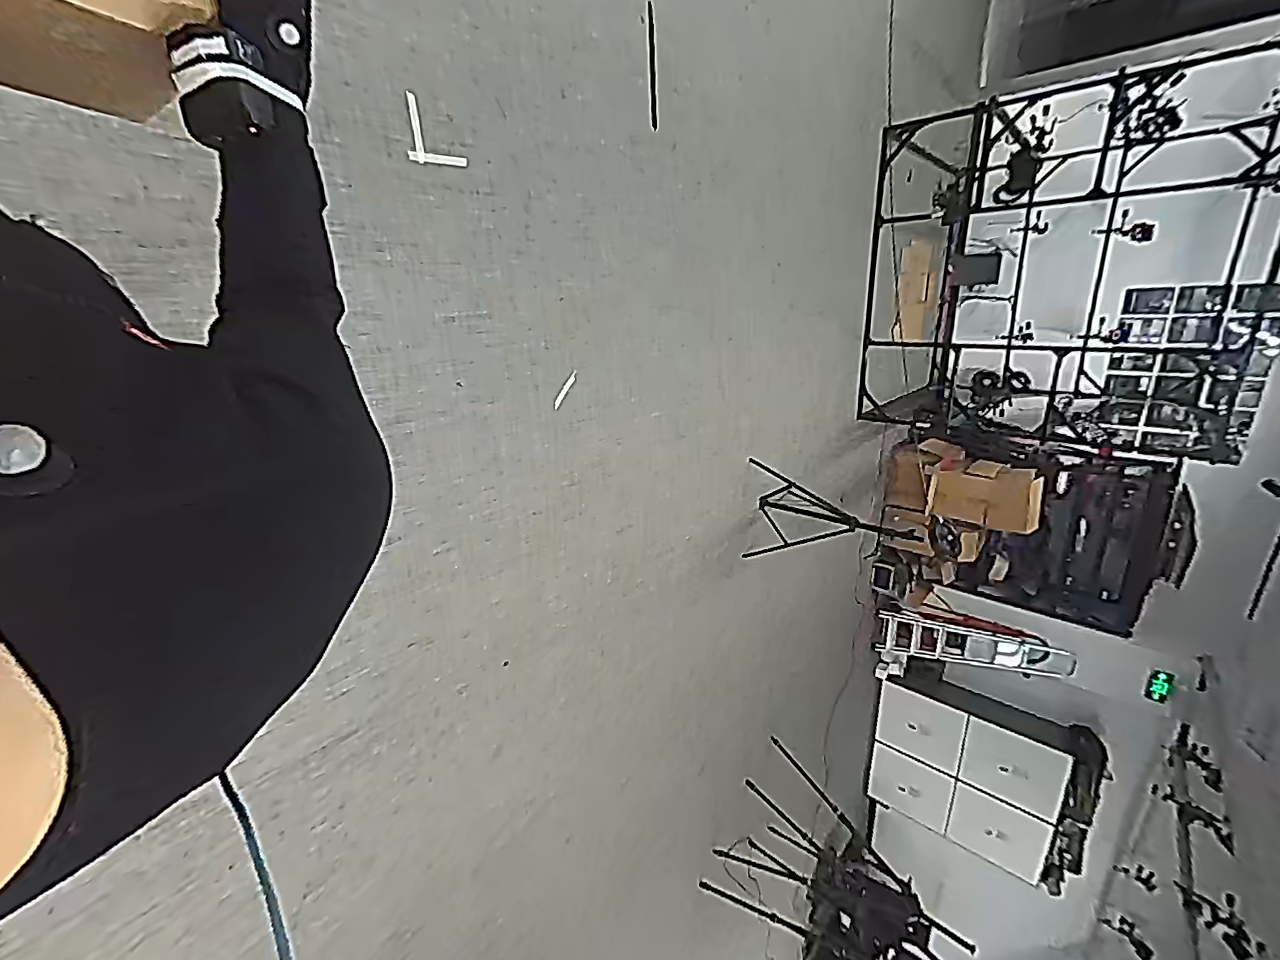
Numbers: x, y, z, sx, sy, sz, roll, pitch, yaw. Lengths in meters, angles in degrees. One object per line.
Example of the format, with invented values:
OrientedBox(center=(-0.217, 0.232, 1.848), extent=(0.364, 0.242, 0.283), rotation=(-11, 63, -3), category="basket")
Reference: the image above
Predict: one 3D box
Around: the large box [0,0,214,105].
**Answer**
OrientedBox(center=(-0.553, -0.482, 0.312), extent=(0.408, 0.320, 0.320), rotation=(-13, 115, -49), category="large box")
